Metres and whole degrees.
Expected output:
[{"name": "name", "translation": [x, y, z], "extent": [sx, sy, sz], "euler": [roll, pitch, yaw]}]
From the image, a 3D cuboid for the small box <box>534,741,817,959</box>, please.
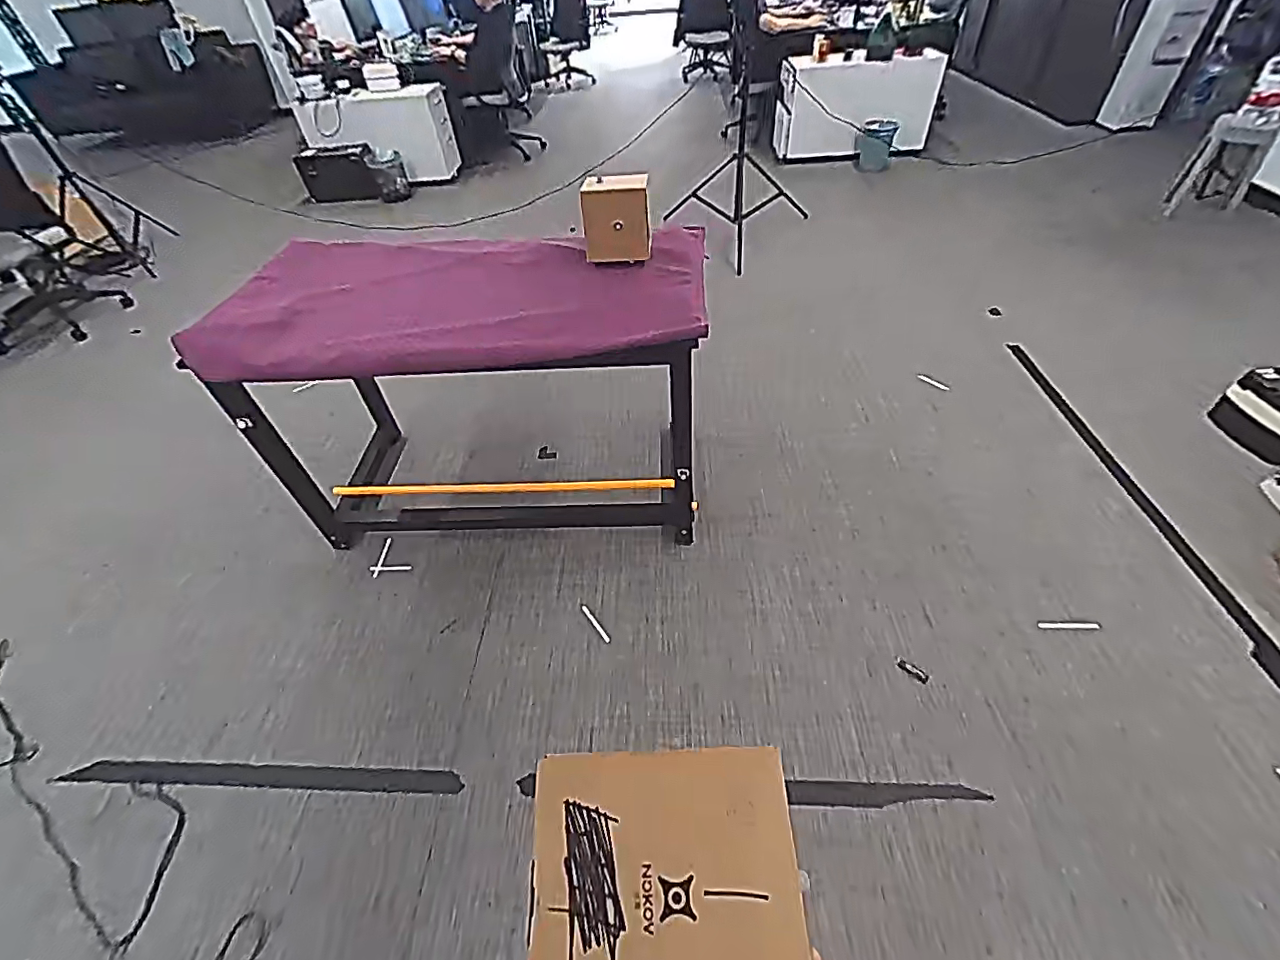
[{"name": "small box", "translation": [0.029, 0.302, 0.414], "extent": [0.179, 0.176, 0.168], "euler": [-5, 58, 5]}]
